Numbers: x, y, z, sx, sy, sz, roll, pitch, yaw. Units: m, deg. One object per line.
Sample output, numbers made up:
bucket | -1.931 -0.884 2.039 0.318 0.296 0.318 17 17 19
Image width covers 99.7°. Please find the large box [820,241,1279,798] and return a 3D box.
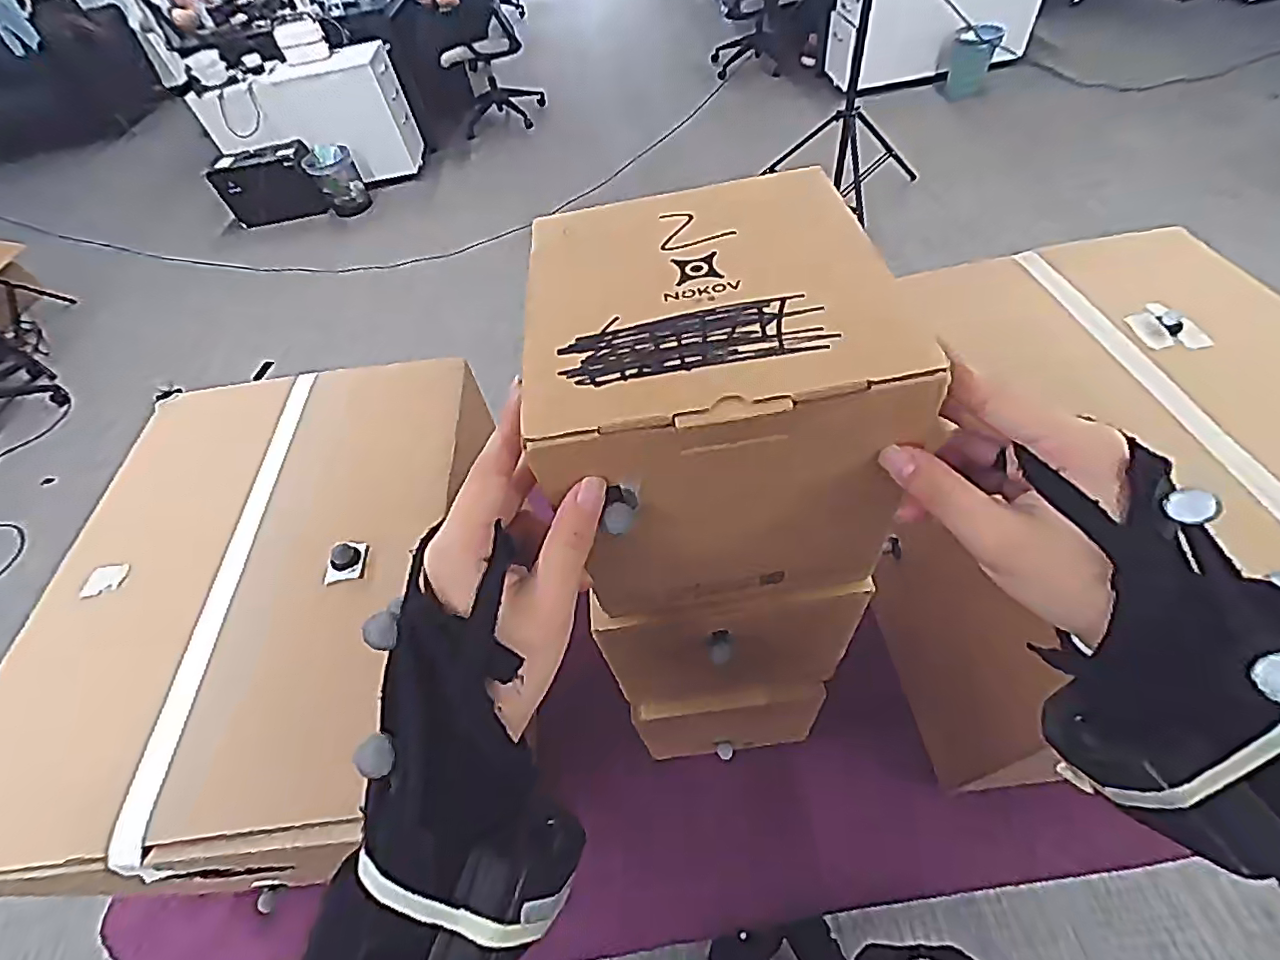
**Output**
large box | 0.402 0.037 0.525 0.320 0.320 0.408 -10 51 2
